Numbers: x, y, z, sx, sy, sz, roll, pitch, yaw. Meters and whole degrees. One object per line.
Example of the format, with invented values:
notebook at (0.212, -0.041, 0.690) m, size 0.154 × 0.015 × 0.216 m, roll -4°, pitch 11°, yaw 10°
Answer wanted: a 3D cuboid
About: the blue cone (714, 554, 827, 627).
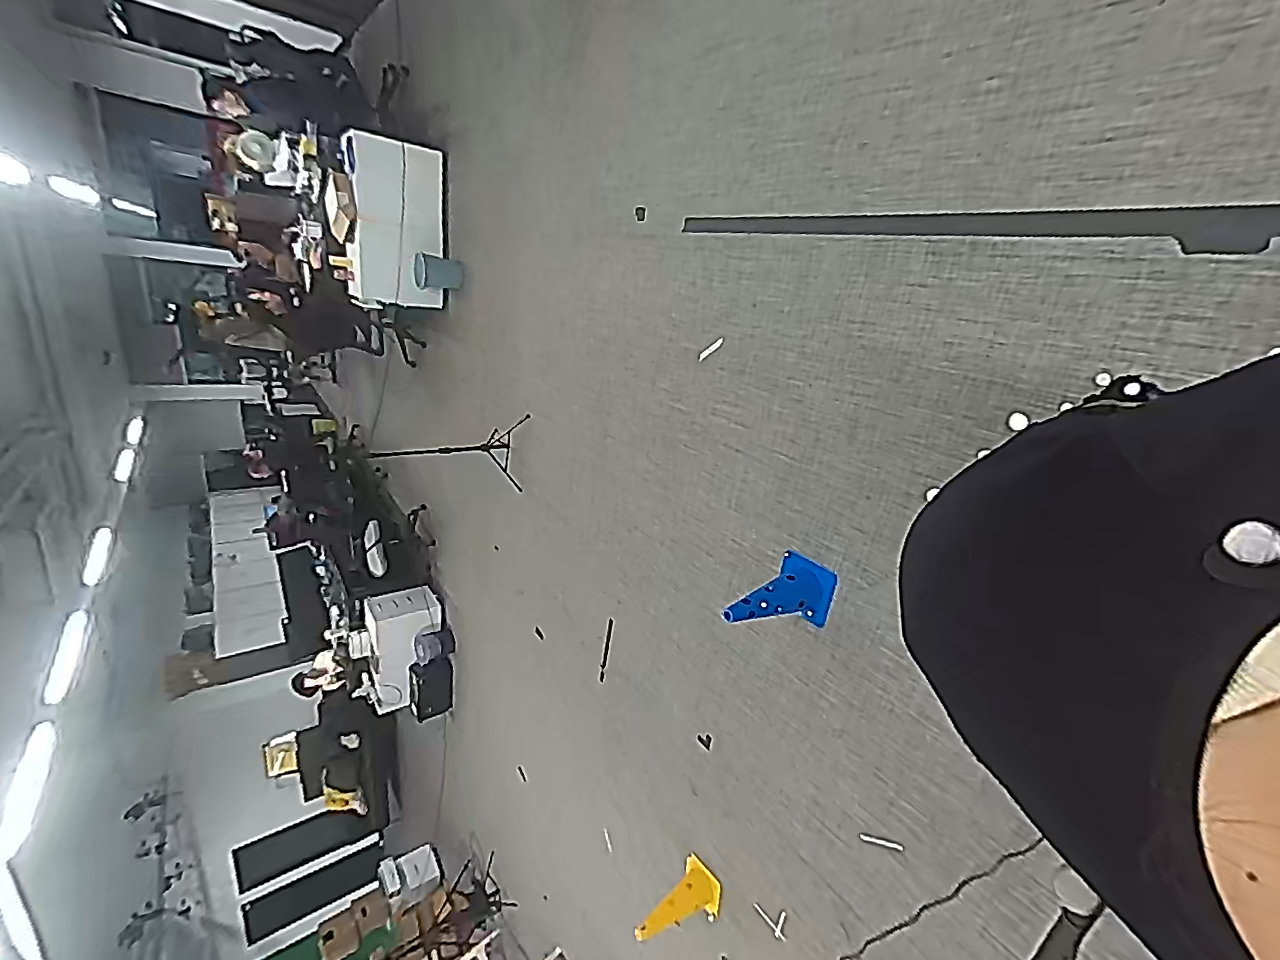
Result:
blue cone at (0.379, 0.372, 1.642) m, size 0.192 × 0.380 × 0.193 m, roll 33°, pitch 121°, yaw 47°
